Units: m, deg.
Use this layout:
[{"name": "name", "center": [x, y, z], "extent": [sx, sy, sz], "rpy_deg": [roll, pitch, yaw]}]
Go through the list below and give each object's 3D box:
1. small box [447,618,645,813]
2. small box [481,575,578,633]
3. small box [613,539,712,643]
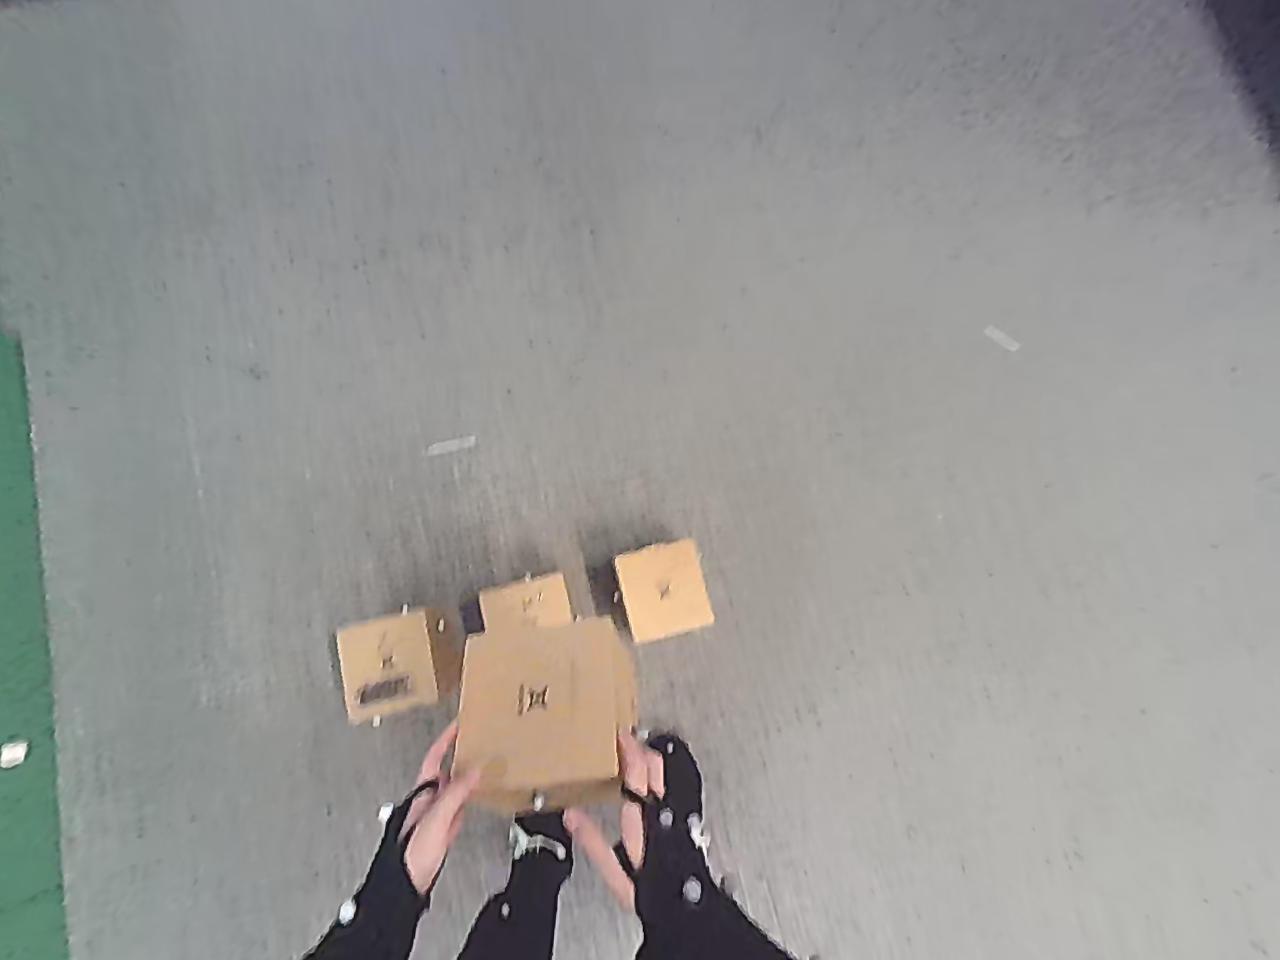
[{"name": "small box", "center": [-0.098, 0.281, 0.635], "extent": [0.179, 0.176, 0.168], "rpy_deg": [-9, 52, 5]}, {"name": "small box", "center": [-0.216, 0.299, 1.117], "extent": [0.168, 0.176, 0.179], "rpy_deg": [-14, 80, -7]}, {"name": "small box", "center": [0.041, 0.232, 1.152], "extent": [0.168, 0.176, 0.179], "rpy_deg": [-14, 80, -6]}]
